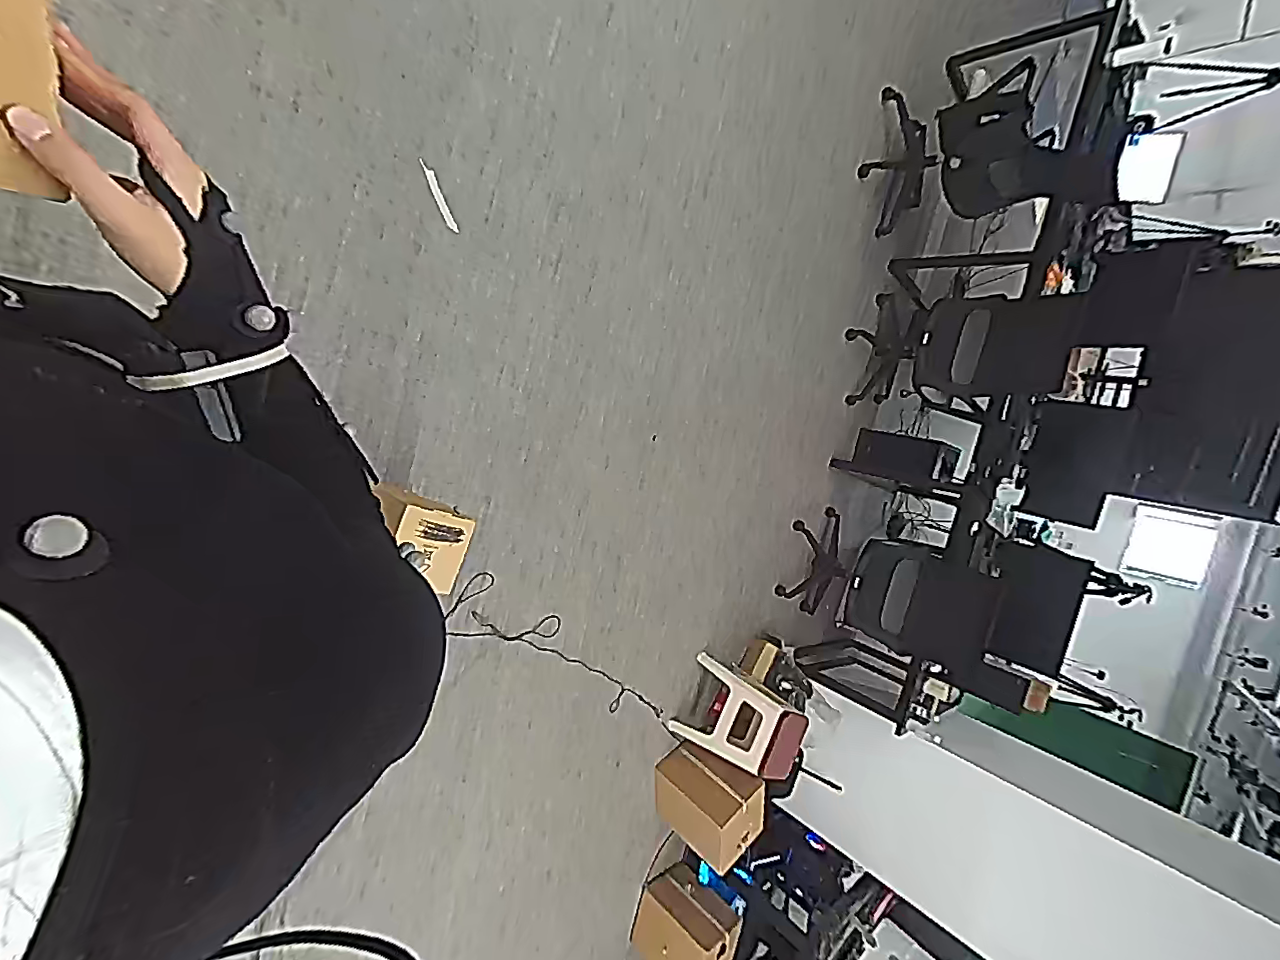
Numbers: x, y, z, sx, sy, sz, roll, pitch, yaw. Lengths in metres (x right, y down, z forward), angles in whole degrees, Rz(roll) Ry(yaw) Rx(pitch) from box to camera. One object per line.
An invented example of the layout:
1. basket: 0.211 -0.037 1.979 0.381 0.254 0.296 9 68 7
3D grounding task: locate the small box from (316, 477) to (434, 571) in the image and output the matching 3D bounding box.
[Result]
1. small box: -0.632 0.101 1.287 0.179 0.176 0.168 24 84 -46
